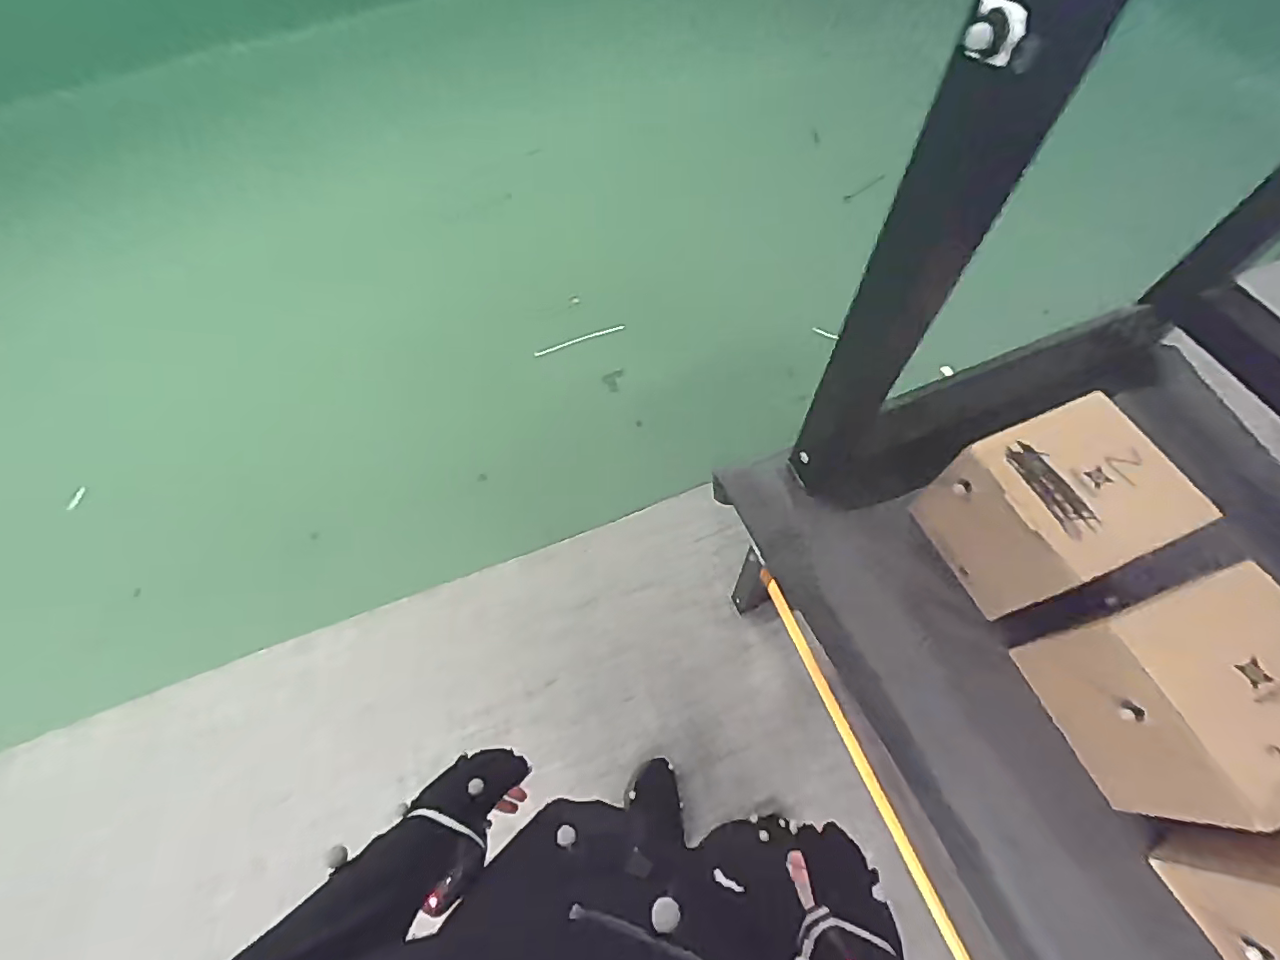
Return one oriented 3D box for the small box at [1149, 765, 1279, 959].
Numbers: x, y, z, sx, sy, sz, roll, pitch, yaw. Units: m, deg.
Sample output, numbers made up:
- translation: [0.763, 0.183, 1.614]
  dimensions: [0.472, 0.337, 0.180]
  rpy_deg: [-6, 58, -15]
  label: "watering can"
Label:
- translation: [0.624, 0.370, 0.470]
  dimensions: [0.179, 0.176, 0.168]
  rpy_deg: [-27, 66, -9]
  label: "small box"
